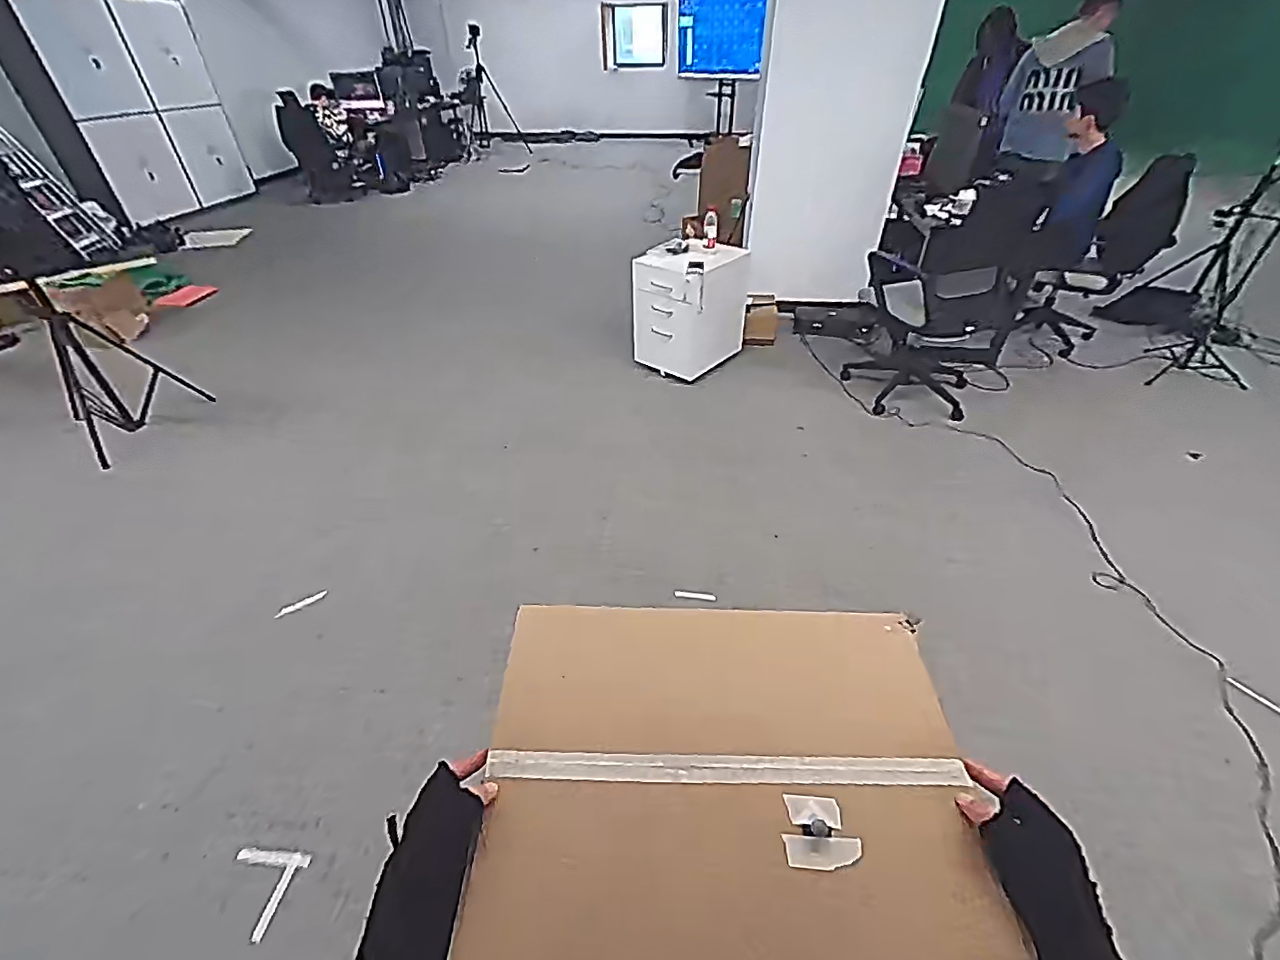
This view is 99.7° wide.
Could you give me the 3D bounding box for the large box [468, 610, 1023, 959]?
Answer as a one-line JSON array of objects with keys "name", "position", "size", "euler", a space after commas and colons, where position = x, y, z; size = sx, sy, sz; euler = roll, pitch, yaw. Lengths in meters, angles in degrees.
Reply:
[{"name": "large box", "position": [0.072, 0.357, 0.578], "size": [0.408, 0.320, 0.320], "euler": [2, 45, 0]}]
